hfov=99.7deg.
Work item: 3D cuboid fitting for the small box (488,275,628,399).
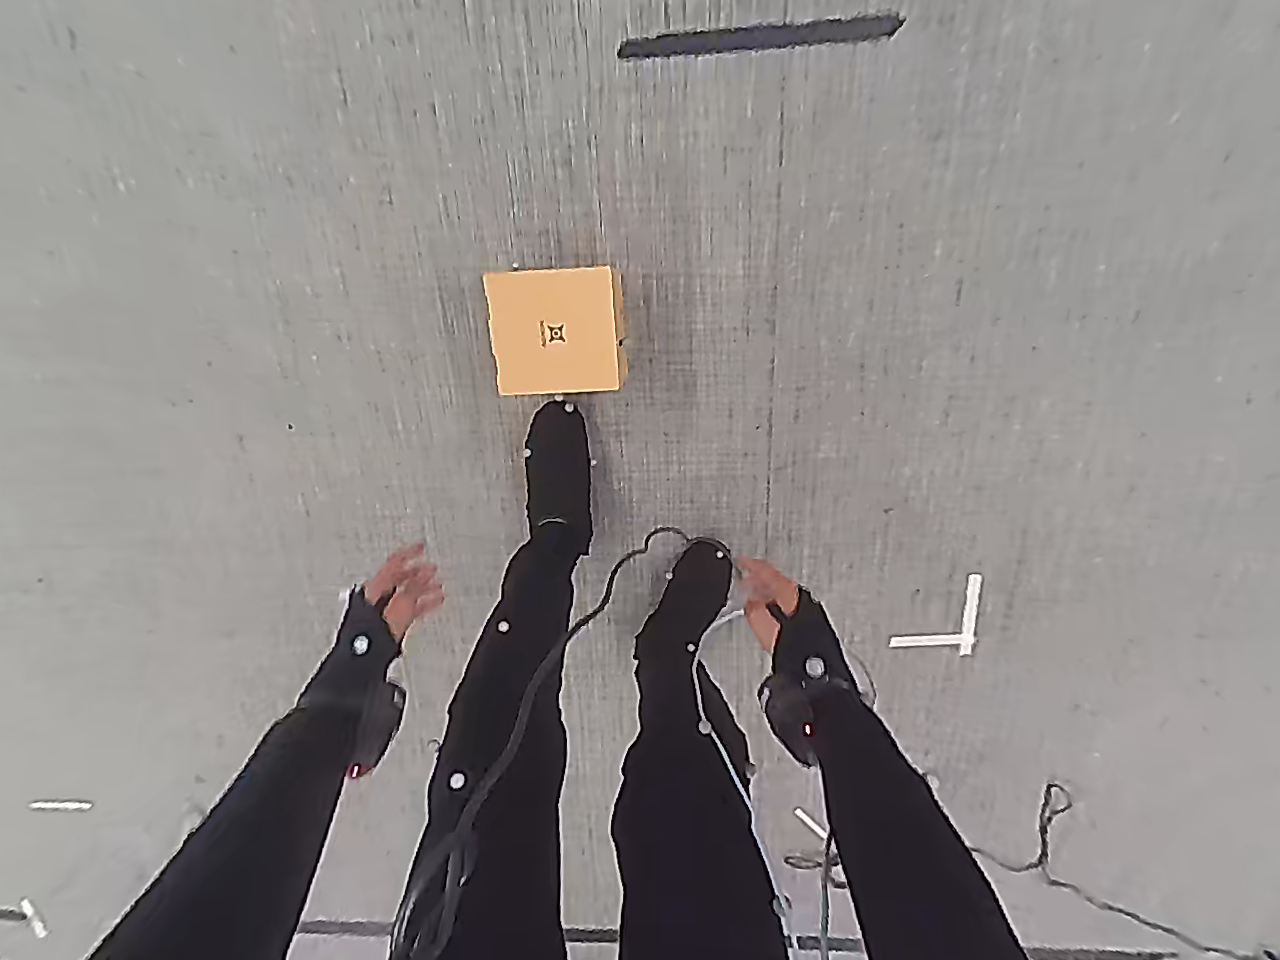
[{"bbox_3d":[-0.111,-0.222,0.822,0.179,0.176,0.168,-2,108,5],"label":"small box"}]
